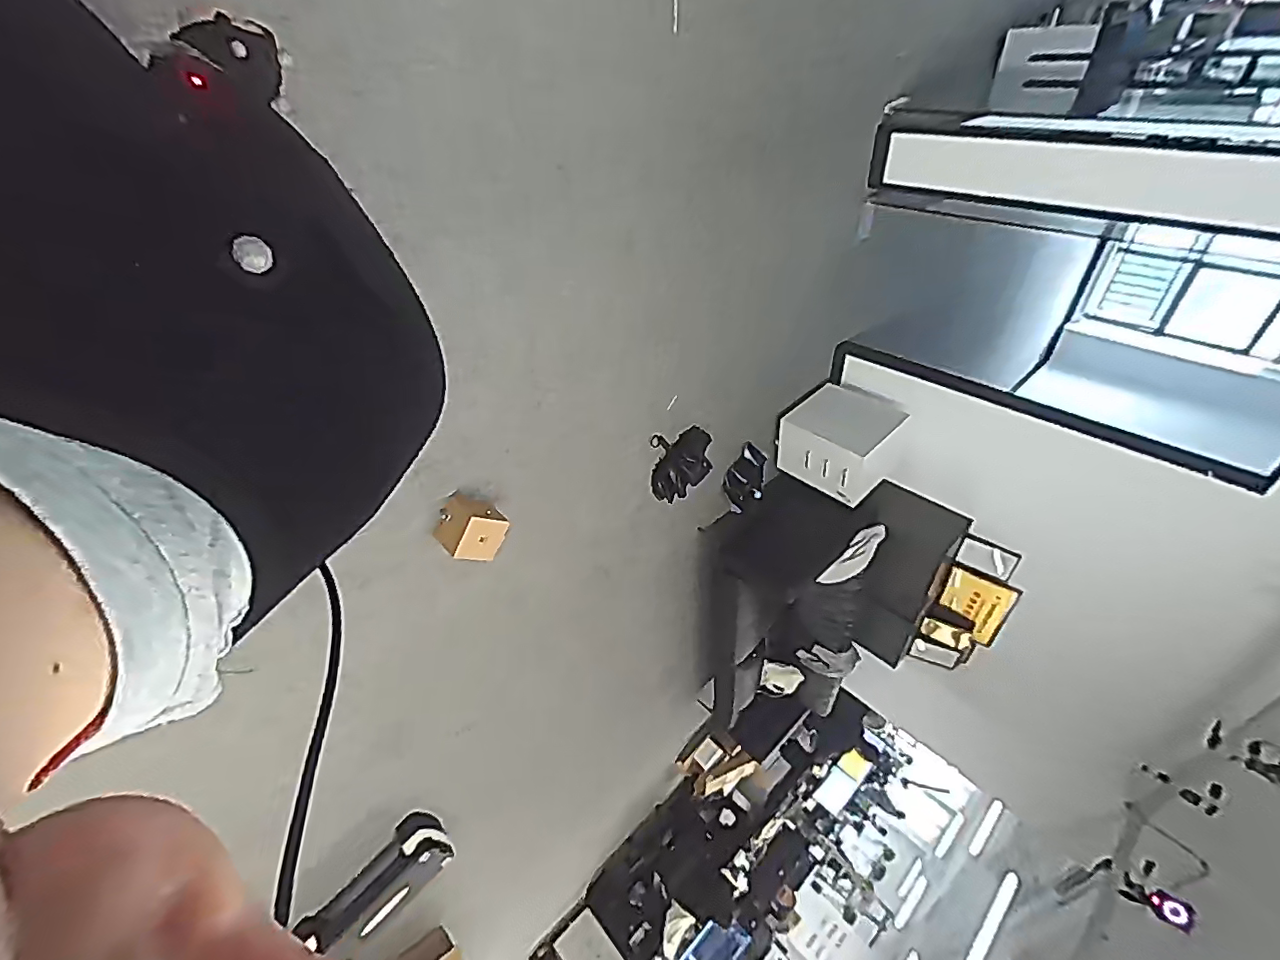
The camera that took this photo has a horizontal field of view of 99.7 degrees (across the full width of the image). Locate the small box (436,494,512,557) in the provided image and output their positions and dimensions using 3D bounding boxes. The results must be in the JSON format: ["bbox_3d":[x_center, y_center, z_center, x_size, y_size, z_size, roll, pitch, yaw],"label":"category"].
[{"bbox_3d":[-0.604,0.164,1.961,0.179,0.176,0.168,15,103,-52],"label":"small box"}]
